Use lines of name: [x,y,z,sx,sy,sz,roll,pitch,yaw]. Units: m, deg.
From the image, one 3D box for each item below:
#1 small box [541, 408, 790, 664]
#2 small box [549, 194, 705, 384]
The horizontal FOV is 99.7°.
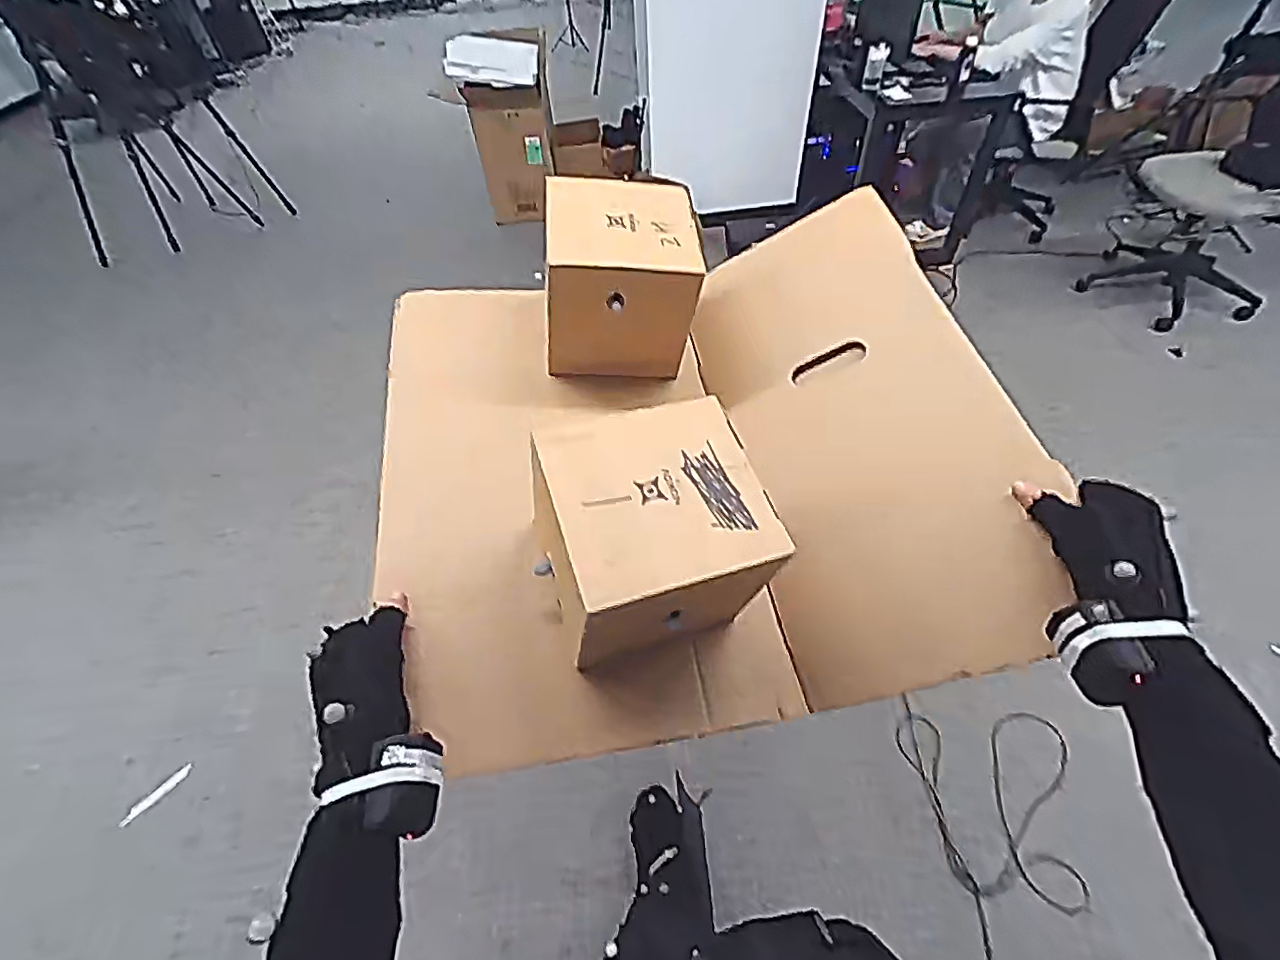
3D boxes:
small box: [0.007,0.058,0.520,0.179,0.176,0.168,-13,61,-16]
small box: [-0.028,-0.241,0.704,0.179,0.176,0.168,1,58,-9]
